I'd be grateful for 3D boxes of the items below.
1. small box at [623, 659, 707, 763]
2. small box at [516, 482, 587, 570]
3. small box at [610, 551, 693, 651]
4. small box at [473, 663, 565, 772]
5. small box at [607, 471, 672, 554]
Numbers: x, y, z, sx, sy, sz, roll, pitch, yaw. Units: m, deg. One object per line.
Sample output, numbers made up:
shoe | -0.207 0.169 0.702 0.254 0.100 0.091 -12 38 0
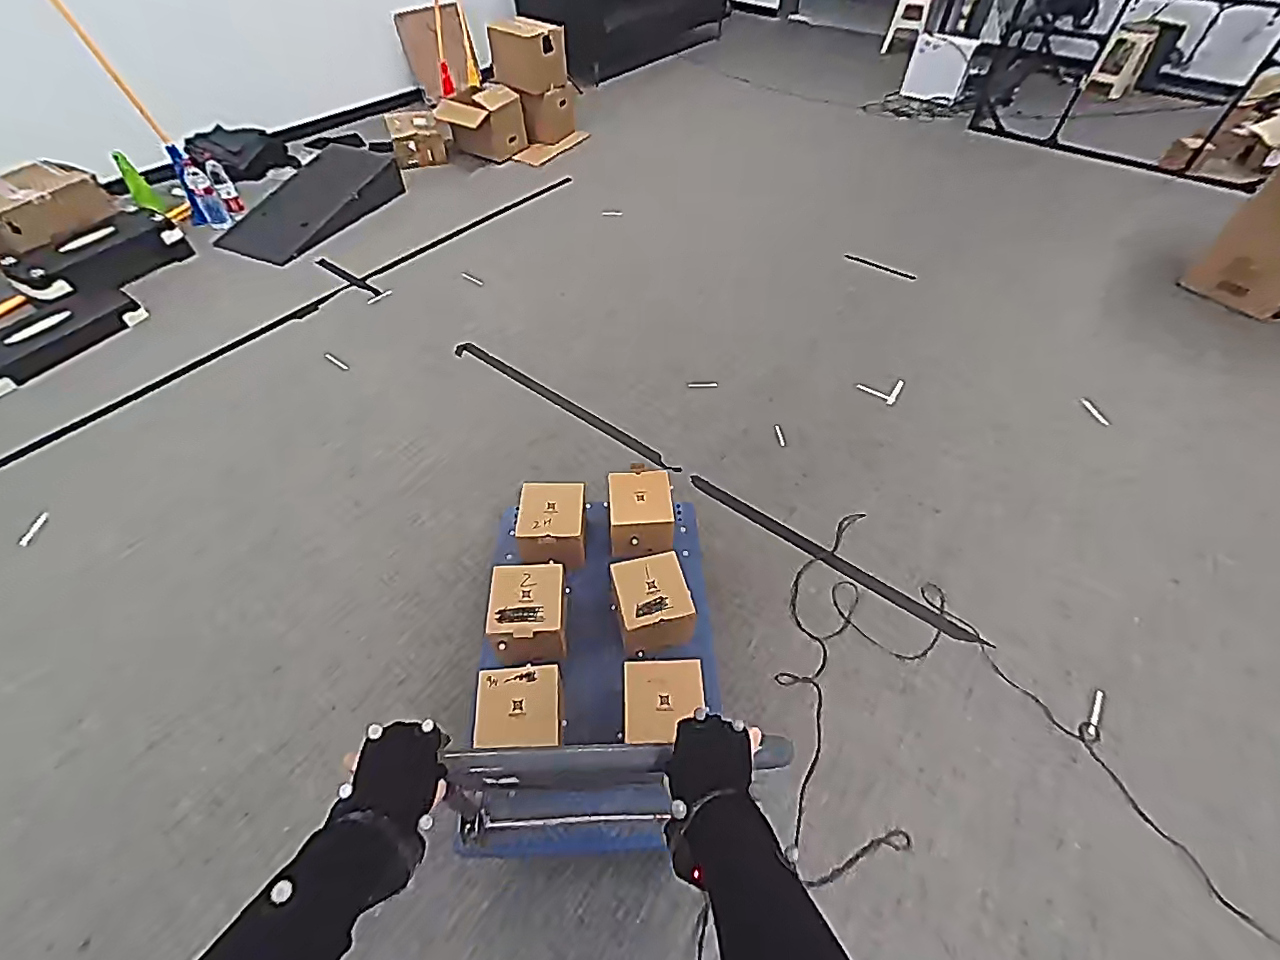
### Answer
small box | 0.048 0.504 1.171 0.168 0.176 0.179 0 50 -3
small box | -0.233 0.126 1.470 0.168 0.176 0.179 1 51 -2
small box | 0.024 0.305 1.334 0.168 0.176 0.179 -10 51 -10
small box | -0.249 0.510 1.152 0.168 0.176 0.179 -3 51 -5
small box | -0.003 0.096 1.507 0.168 0.176 0.179 -3 50 -4
